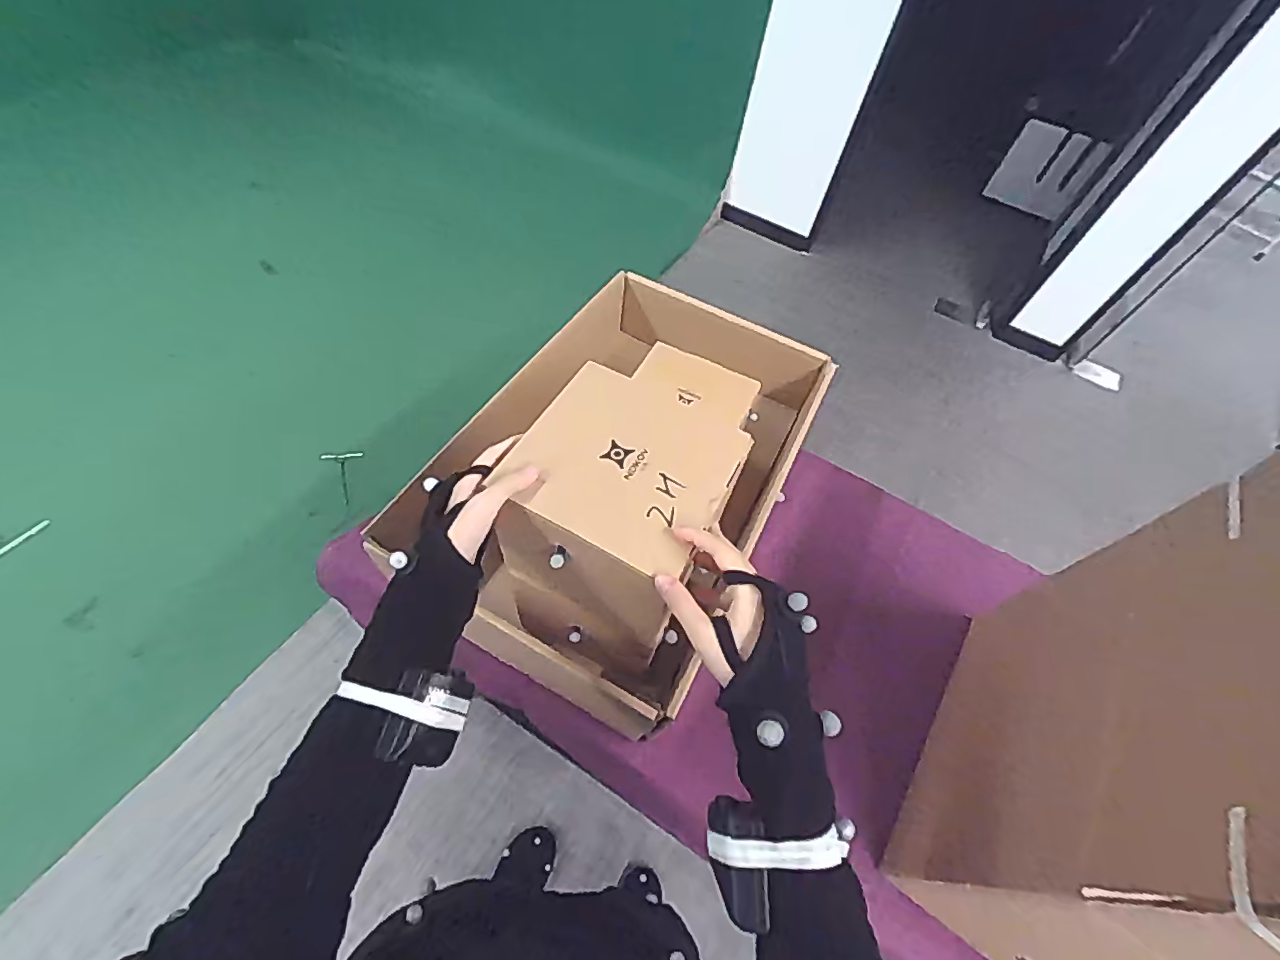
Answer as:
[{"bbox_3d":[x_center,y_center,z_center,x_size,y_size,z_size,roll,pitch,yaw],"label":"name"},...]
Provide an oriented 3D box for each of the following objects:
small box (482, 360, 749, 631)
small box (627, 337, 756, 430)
[{"bbox_3d":[-0.023,0.023,0.527,0.179,0.176,0.168,28,61,11],"label":"small box"},{"bbox_3d":[0.050,-0.071,0.801,0.168,0.176,0.179,25,57,10],"label":"small box"}]
